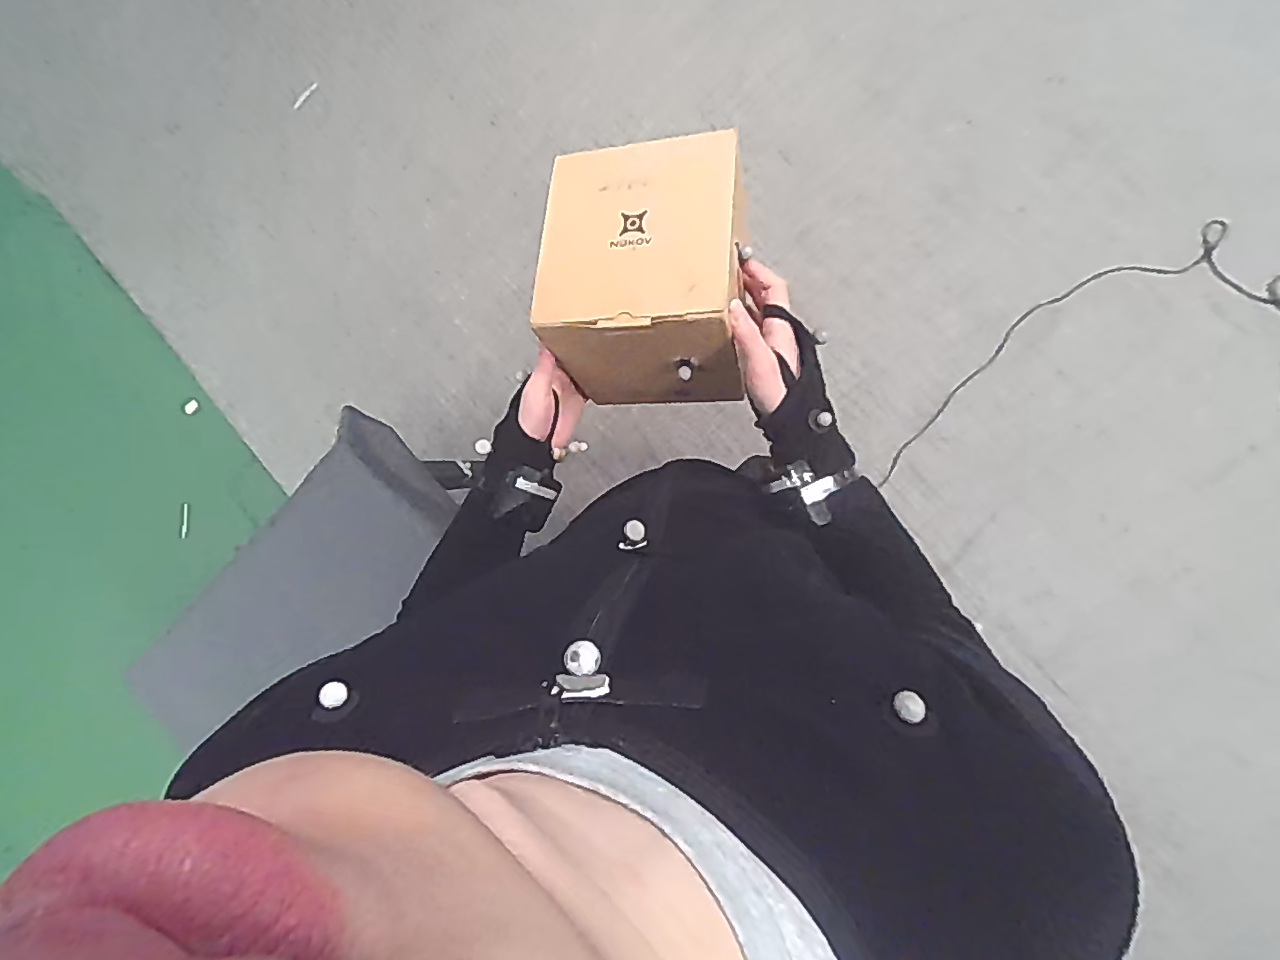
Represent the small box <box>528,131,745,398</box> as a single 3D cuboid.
[{"bbox_3d":[0.012,-0.187,0.522,0.168,0.176,0.179,1,74,14],"label":"small box"}]
